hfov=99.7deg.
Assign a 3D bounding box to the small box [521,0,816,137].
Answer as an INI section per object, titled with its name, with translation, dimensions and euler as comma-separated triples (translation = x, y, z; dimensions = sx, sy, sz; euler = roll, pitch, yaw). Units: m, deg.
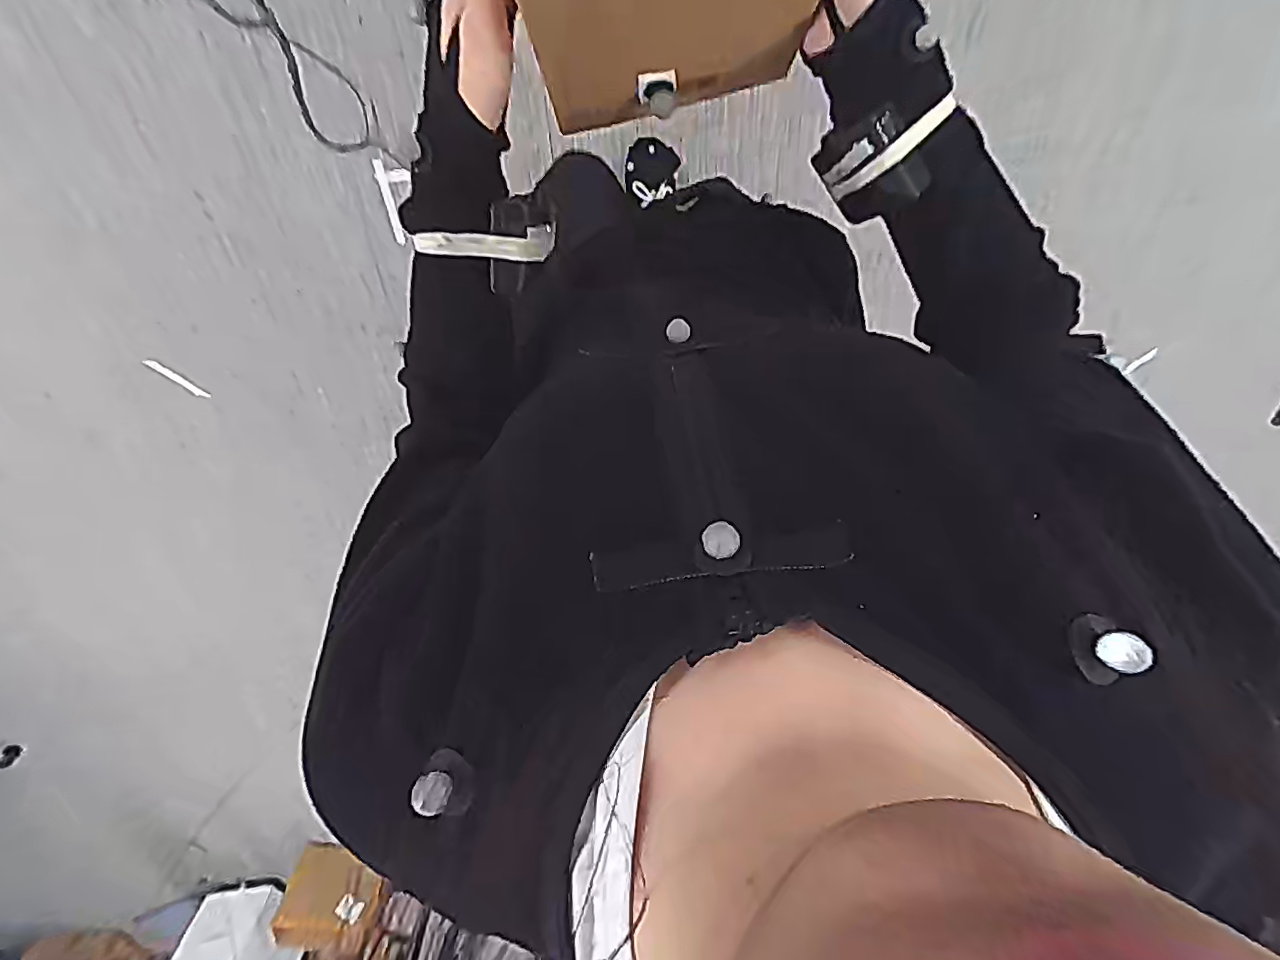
[small box]
translation = 0.002, -0.335, 0.296
dimensions = 0.168, 0.176, 0.179
euler = -15, 99, 4
